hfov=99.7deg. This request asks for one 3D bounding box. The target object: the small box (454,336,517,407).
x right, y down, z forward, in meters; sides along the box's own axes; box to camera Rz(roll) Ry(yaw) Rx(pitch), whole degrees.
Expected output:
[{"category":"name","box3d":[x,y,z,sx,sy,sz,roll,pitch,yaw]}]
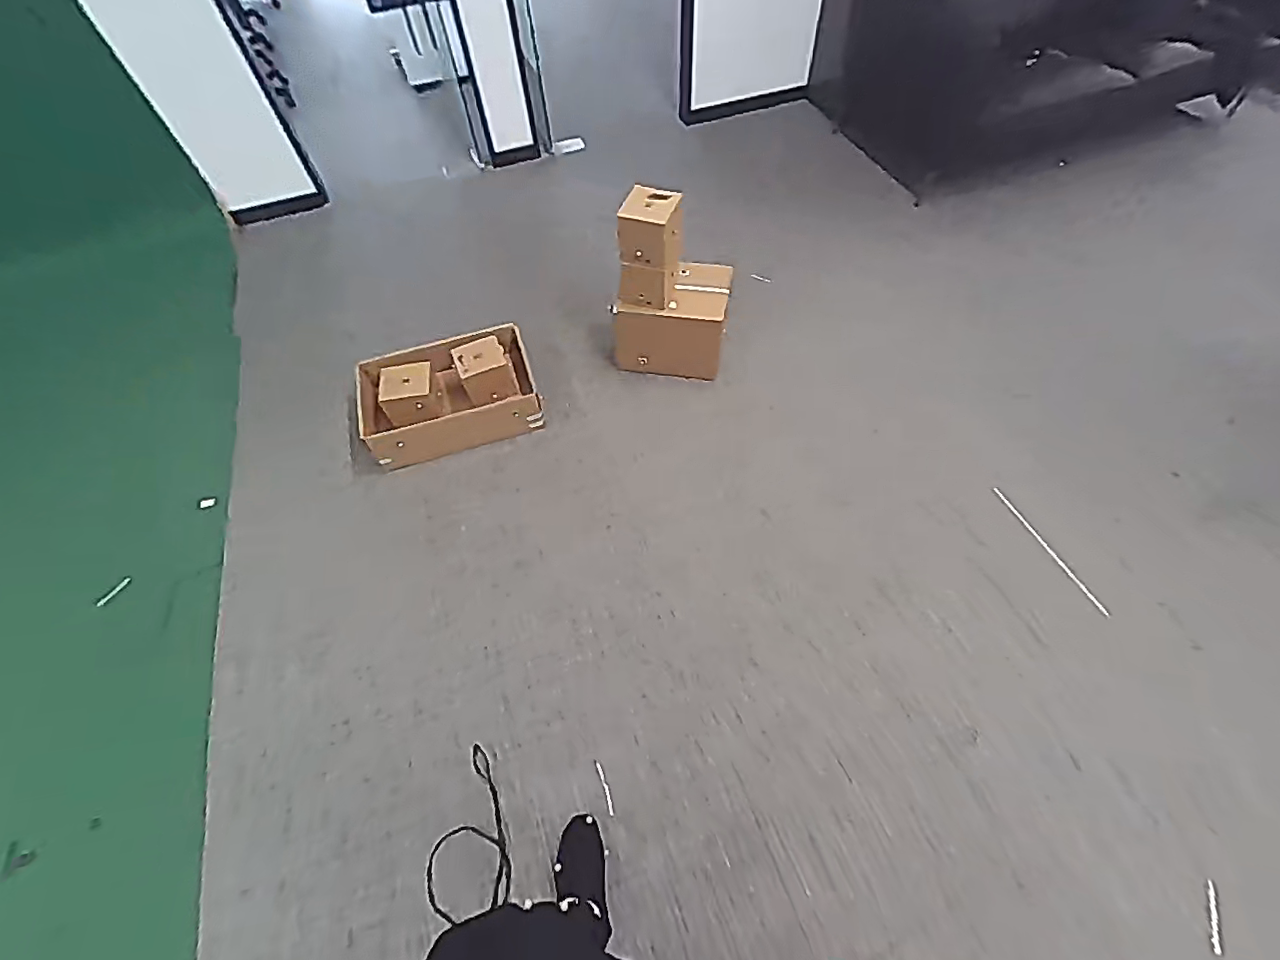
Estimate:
[{"category":"small box","box3d":[-0.576,-0.405,2.035,0.179,0.176,0.168,-21,59,-10]}]

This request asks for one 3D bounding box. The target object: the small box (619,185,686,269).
[{"category":"small box","box3d":[0.042,-0.827,1.771,0.168,0.176,0.179,17,61,13]}]
